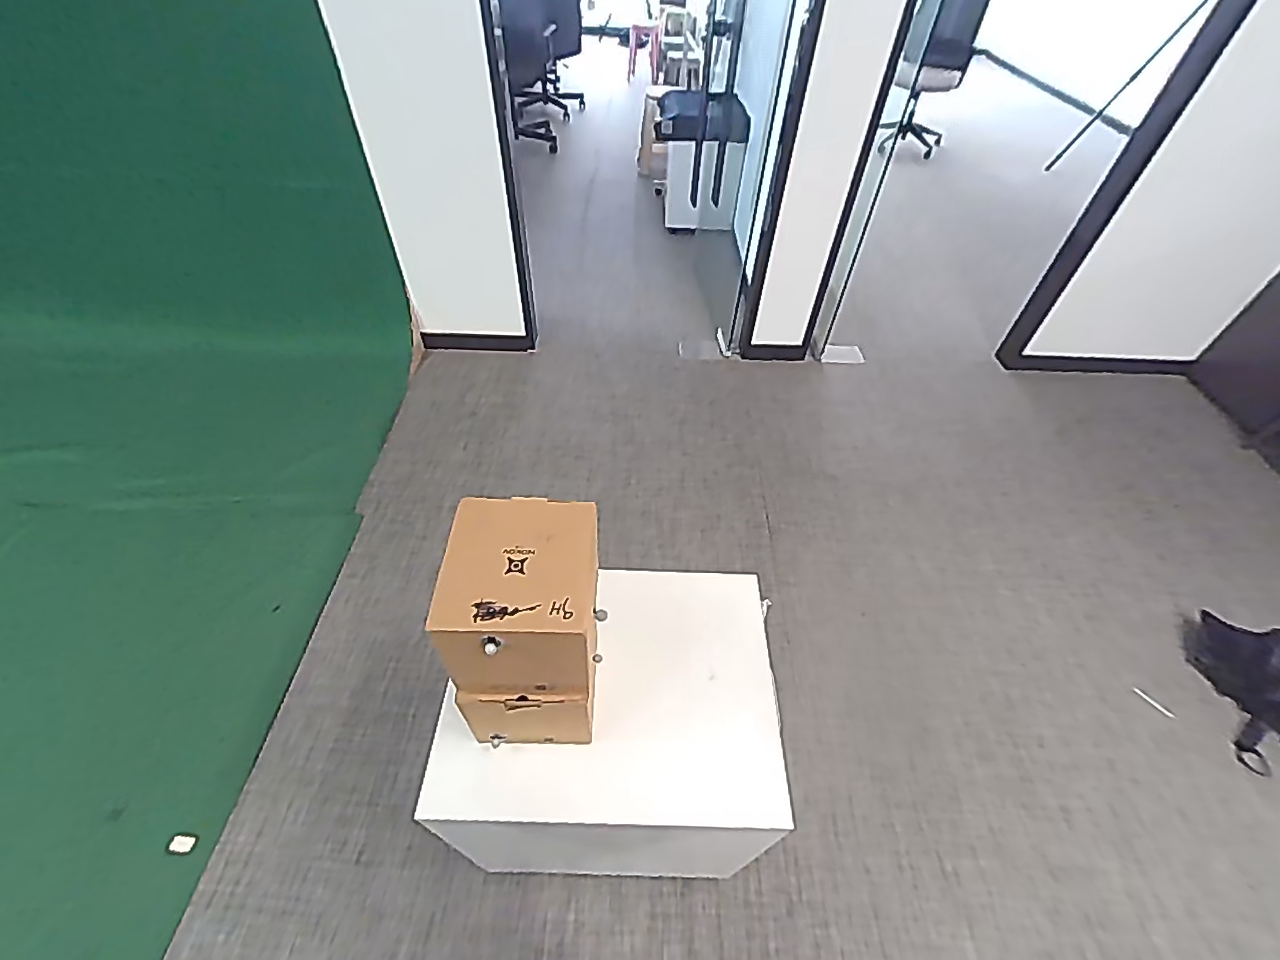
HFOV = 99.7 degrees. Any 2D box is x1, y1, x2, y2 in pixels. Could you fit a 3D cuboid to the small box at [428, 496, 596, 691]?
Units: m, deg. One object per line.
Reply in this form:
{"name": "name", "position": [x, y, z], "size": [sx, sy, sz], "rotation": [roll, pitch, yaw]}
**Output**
{"name": "small box", "position": [-0.141, 0.141, 0.671], "size": [0.168, 0.176, 0.179], "rotation": [1, 48, -1]}

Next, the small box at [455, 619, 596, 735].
{"name": "small box", "position": [-0.152, 0.257, 0.786], "size": [0.168, 0.176, 0.179], "rotation": [2, 48, -2]}
